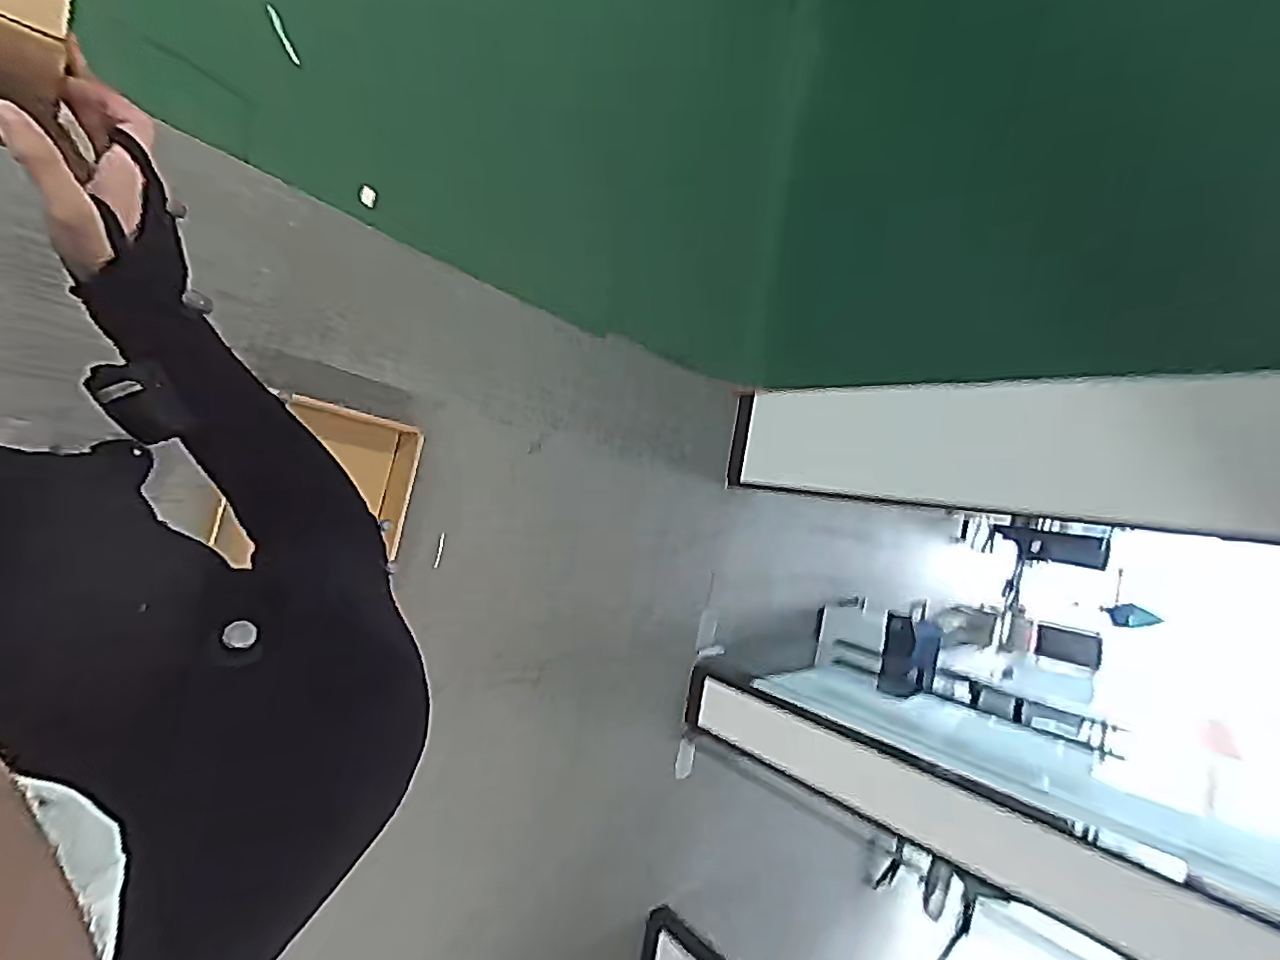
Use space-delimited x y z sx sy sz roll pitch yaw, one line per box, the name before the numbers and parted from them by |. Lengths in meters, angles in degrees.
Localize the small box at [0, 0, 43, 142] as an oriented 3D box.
small box | -0.478 -0.348 0.321 0.168 0.176 0.179 1 86 -50
